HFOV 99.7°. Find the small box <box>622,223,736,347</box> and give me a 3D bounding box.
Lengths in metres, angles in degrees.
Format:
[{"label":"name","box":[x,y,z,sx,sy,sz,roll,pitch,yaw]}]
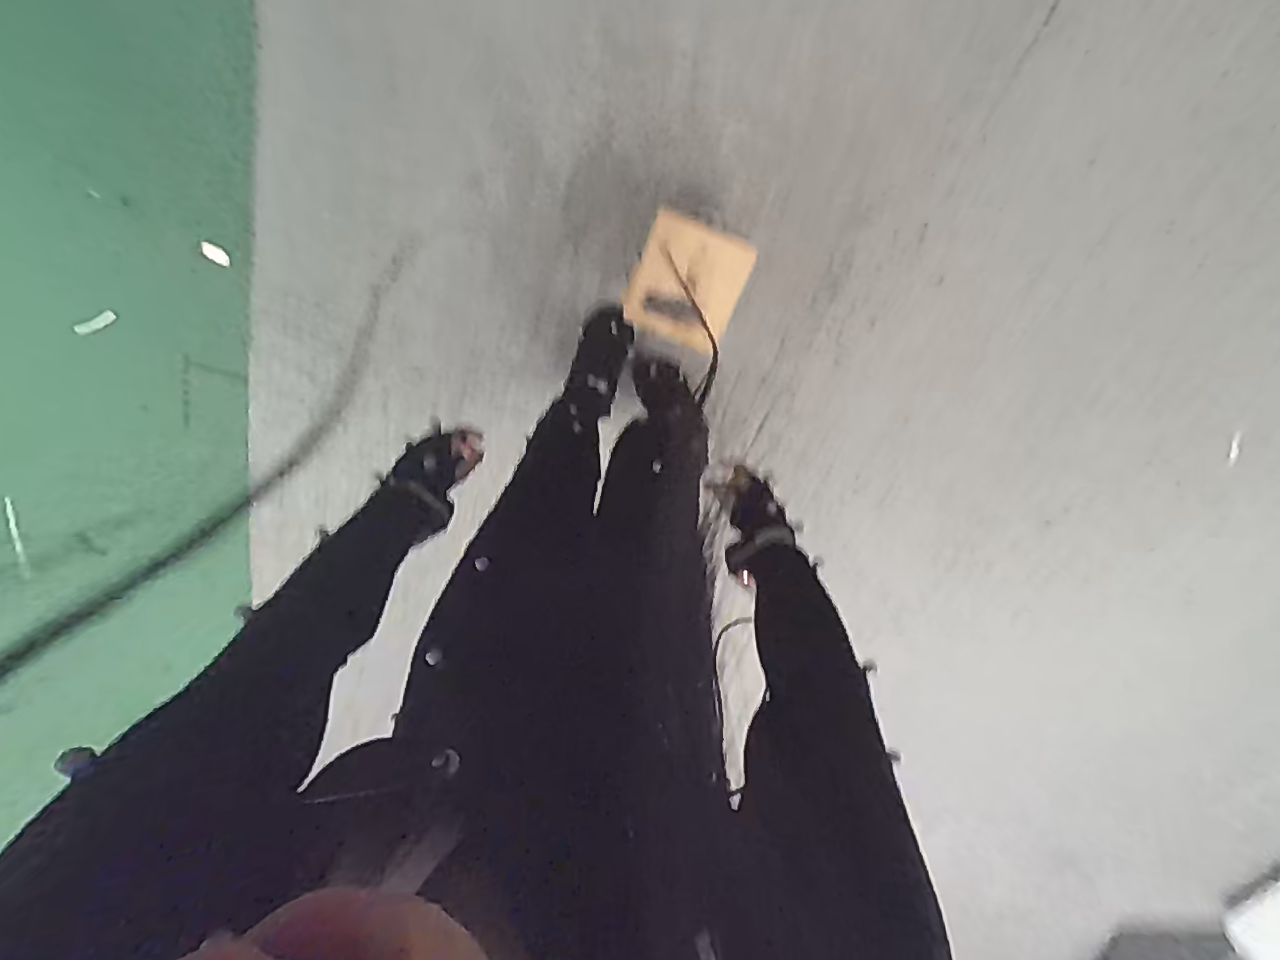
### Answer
[{"label":"small box","box":[0.072,-0.403,1.098,0.168,0.176,0.179,23,116,-10]}]
